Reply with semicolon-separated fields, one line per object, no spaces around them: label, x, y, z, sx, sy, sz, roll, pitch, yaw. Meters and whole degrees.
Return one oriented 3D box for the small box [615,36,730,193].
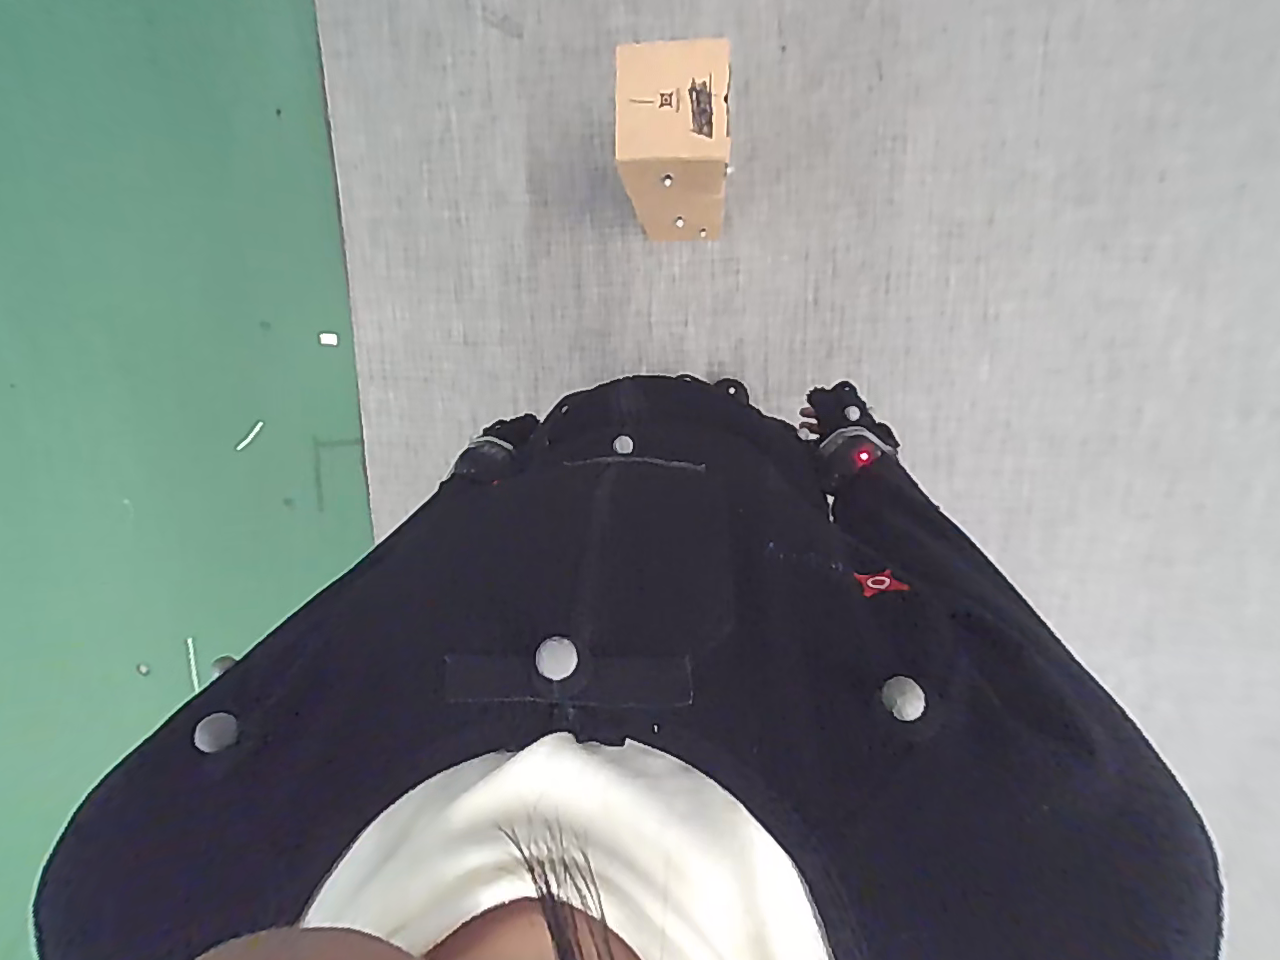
small box;0.055;-0.597;0.905;0.179;0.176;0.168;0;101;5

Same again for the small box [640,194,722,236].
small box;0.096;-0.662;1.225;0.179;0.176;0.168;1;100;8

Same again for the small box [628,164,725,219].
small box;0.076;-0.626;1.066;0.179;0.176;0.168;5;101;5
